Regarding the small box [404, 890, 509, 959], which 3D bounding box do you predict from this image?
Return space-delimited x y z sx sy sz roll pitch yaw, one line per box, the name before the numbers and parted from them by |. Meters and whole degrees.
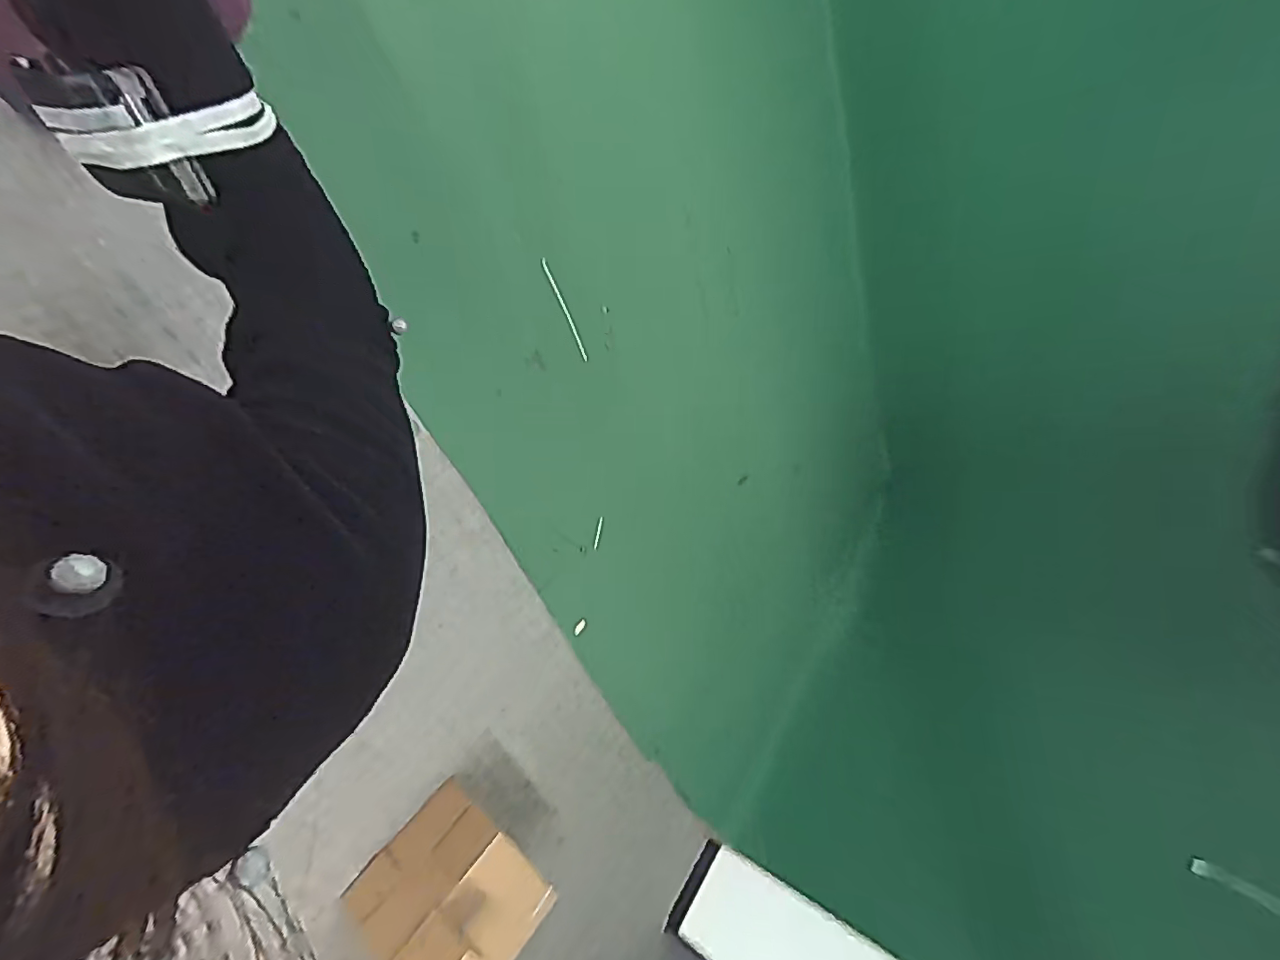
small box | -0.485 1.233 1.409 0.179 0.176 0.168 -46 129 -31
